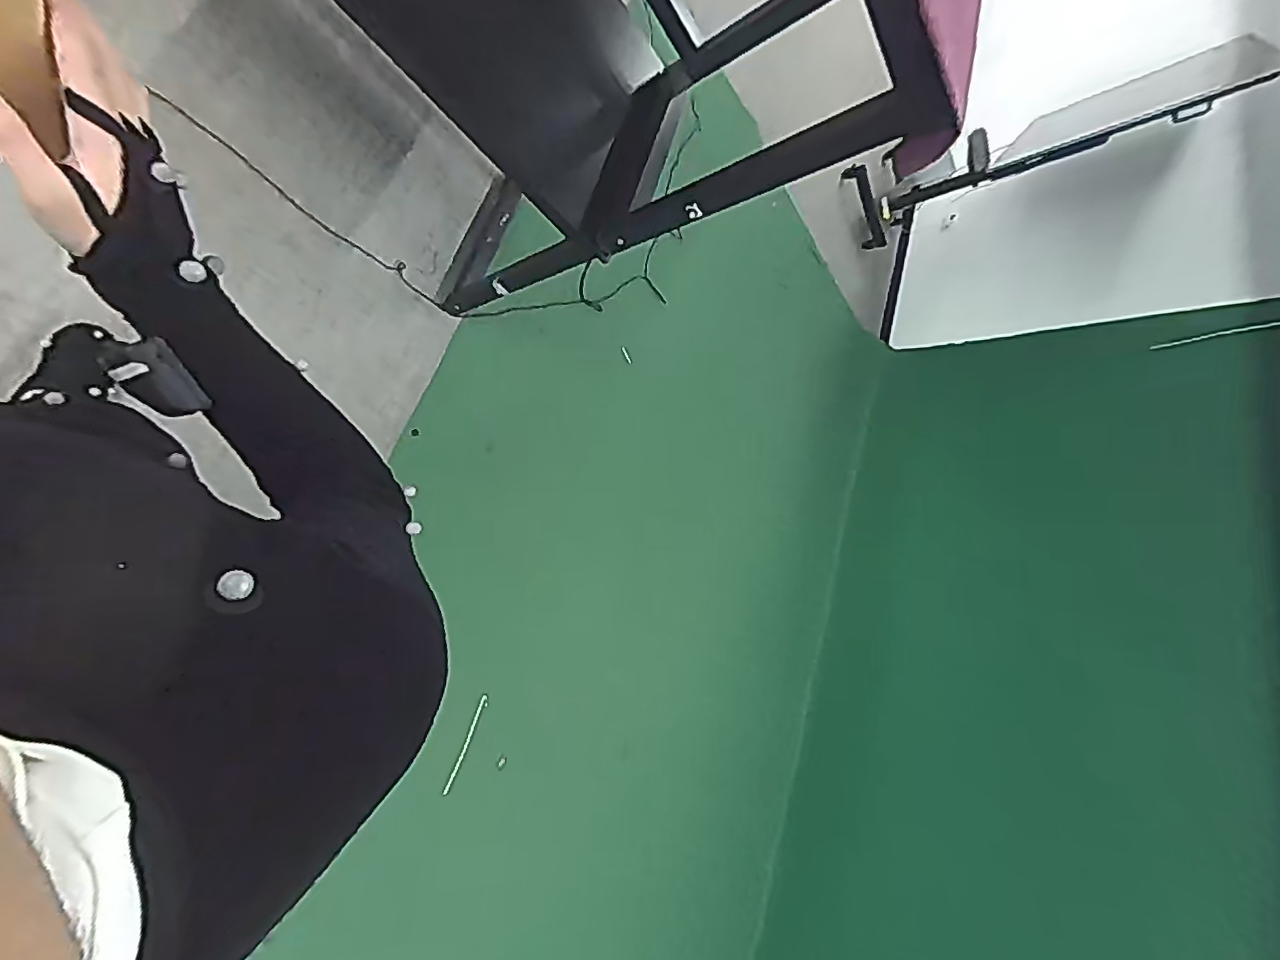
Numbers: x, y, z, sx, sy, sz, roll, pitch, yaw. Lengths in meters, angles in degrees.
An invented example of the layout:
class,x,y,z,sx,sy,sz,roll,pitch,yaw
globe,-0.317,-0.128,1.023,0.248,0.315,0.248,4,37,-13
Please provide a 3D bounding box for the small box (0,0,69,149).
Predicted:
class,x,y,z,sx,sy,sz,roll,pitch,yaw
small box,-0.437,-0.323,0.286,0.168,0.176,0.179,-8,80,-44
